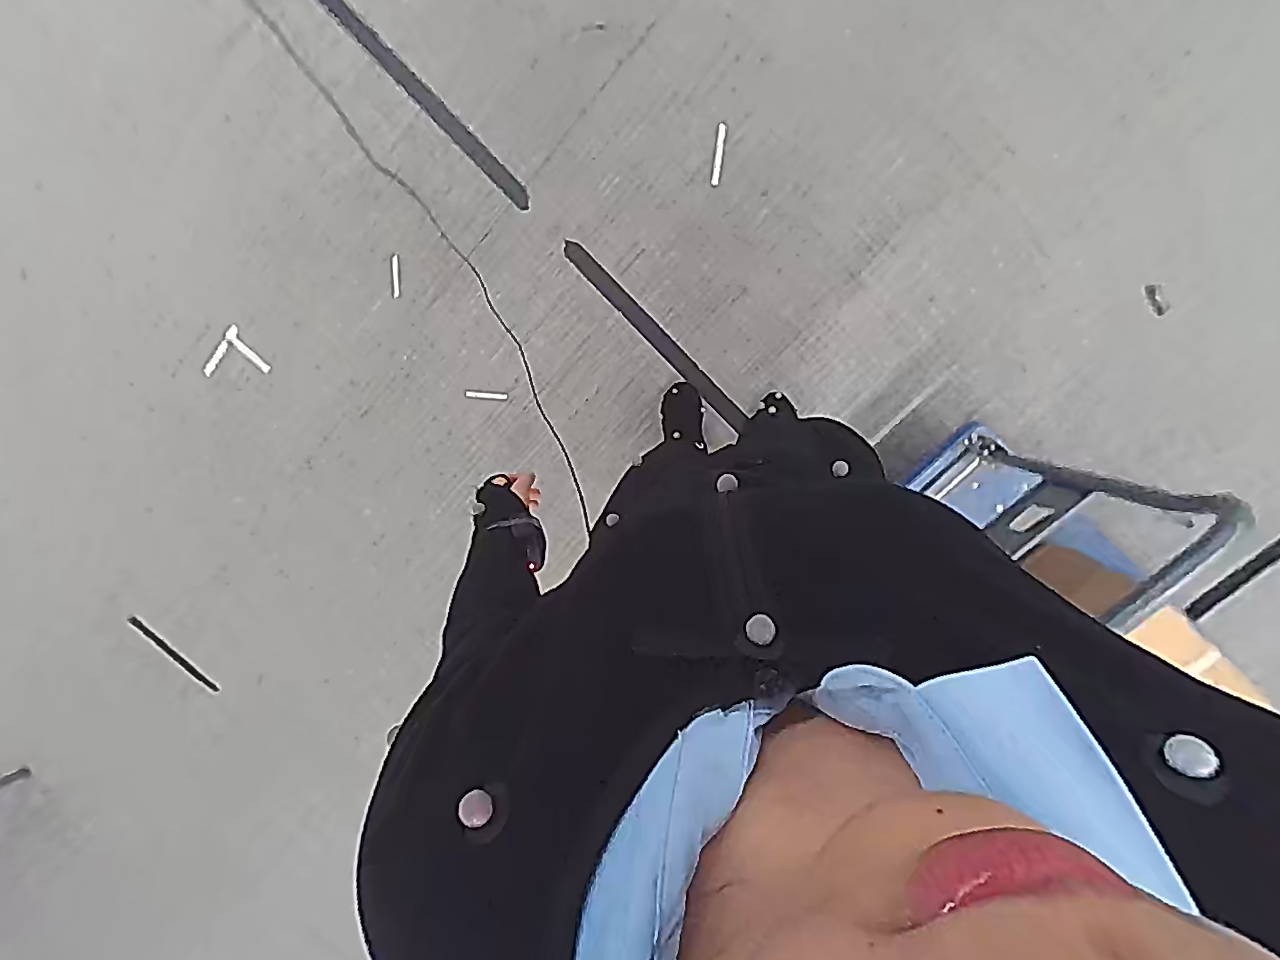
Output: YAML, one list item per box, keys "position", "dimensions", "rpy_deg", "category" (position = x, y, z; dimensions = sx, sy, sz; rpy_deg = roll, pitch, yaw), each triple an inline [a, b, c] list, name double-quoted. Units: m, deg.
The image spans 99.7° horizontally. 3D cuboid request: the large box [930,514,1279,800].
- position: [0.917, 0.341, 1.126]
  dimensions: [0.320, 0.320, 0.408]
  rpy_deg: [40, 102, -3]
  category: "large box"
